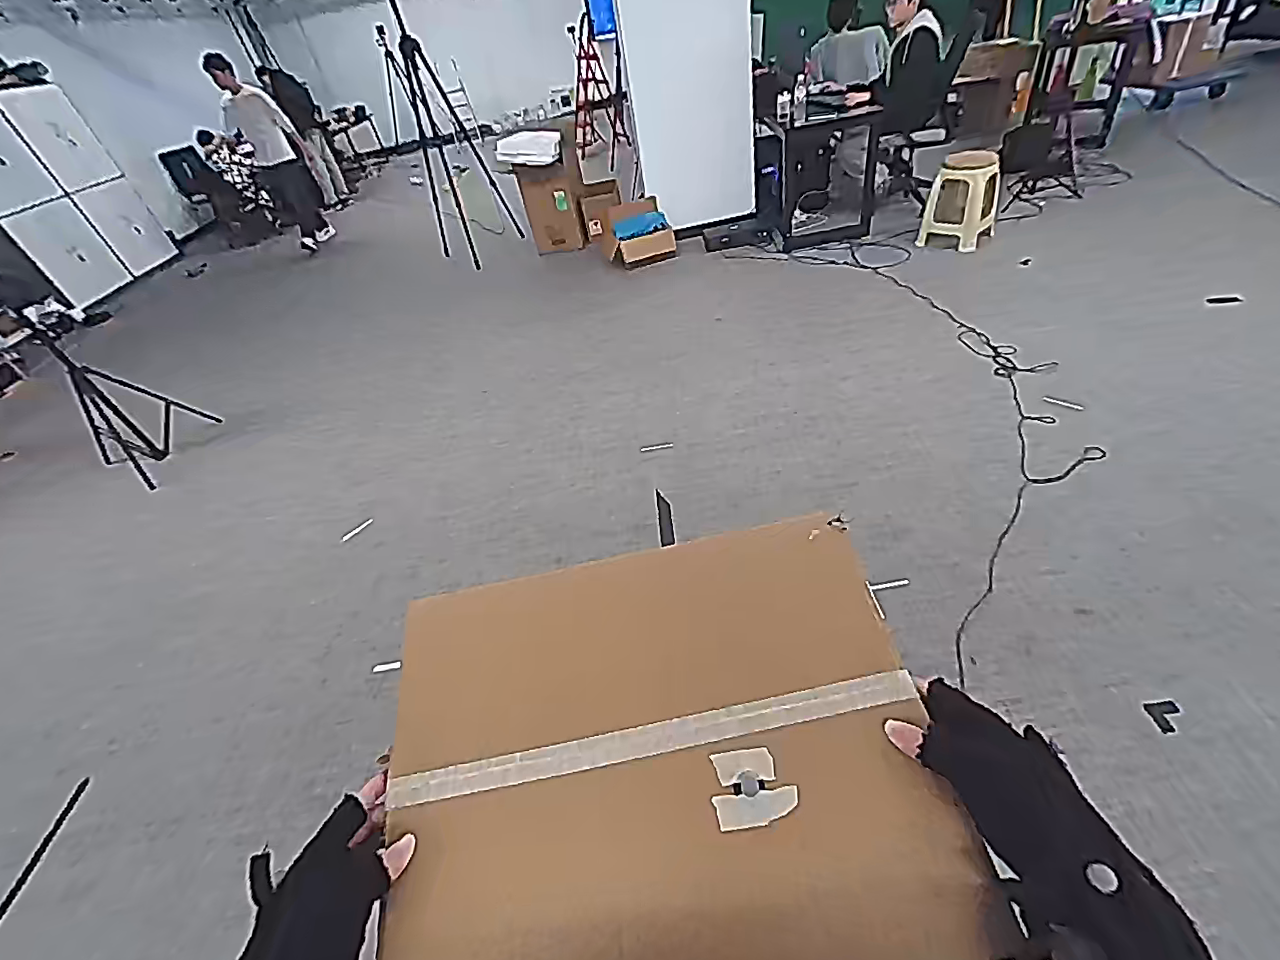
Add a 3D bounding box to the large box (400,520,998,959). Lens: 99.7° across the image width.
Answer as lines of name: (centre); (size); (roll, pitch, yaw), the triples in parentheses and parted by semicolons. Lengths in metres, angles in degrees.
large box: (0.030, 0.287, 0.549); (0.408, 0.320, 0.320); (-12, 55, 1)
